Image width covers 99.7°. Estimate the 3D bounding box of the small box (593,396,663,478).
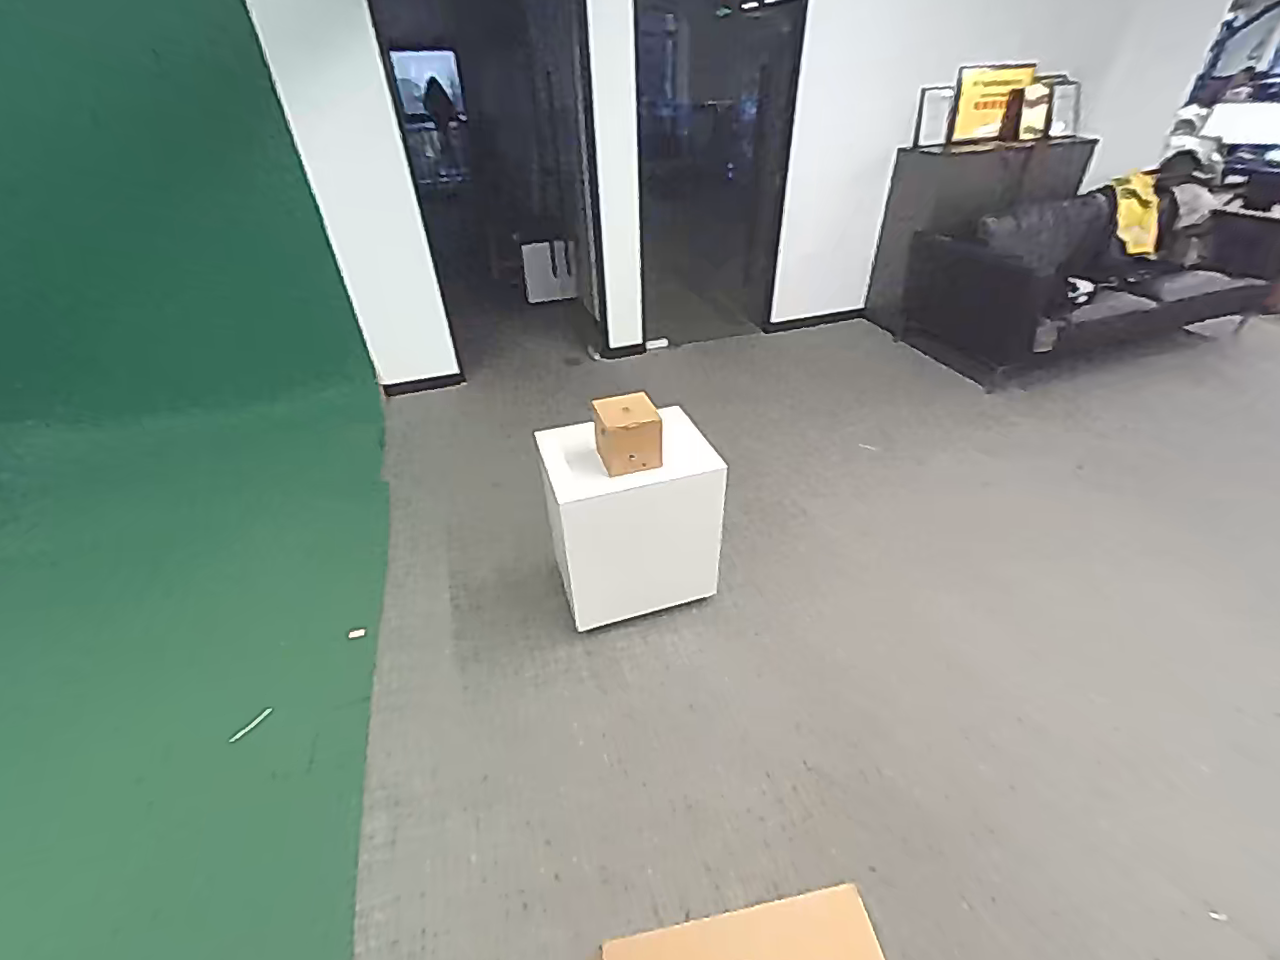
[{"bbox_3d":[-0.039,-0.128,1.595,0.168,0.176,0.179,-12,37,-14],"label":"small box"}]
